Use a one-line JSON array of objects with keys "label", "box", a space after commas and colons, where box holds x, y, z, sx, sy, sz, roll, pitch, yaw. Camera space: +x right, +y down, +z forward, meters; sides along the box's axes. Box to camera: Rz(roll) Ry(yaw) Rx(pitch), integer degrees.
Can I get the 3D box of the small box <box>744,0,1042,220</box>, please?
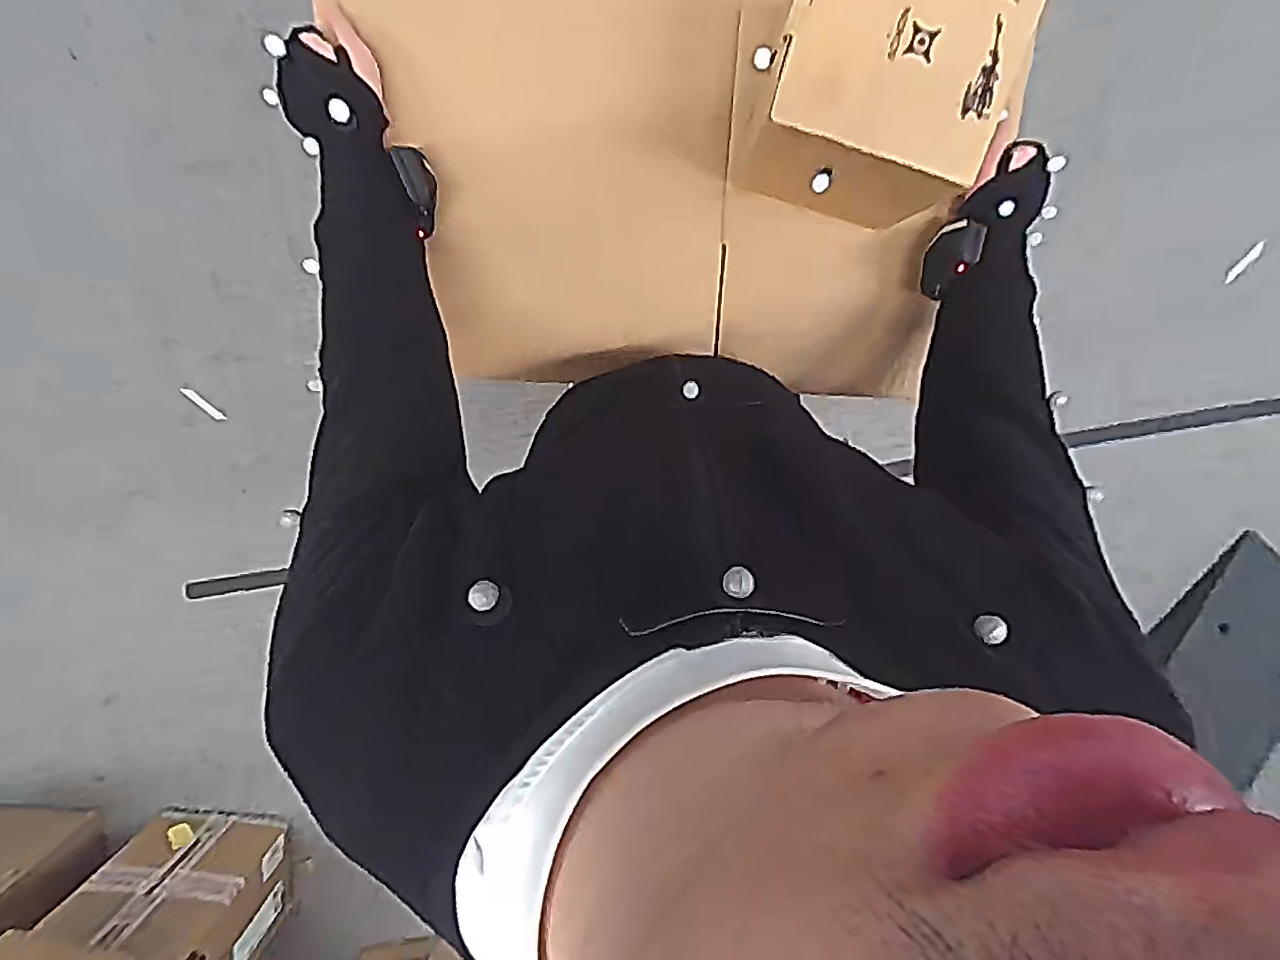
[{"label": "small box", "box": [0.207, -0.356, 0.489, 0.179, 0.176, 0.168, 16, 103, -3]}]
